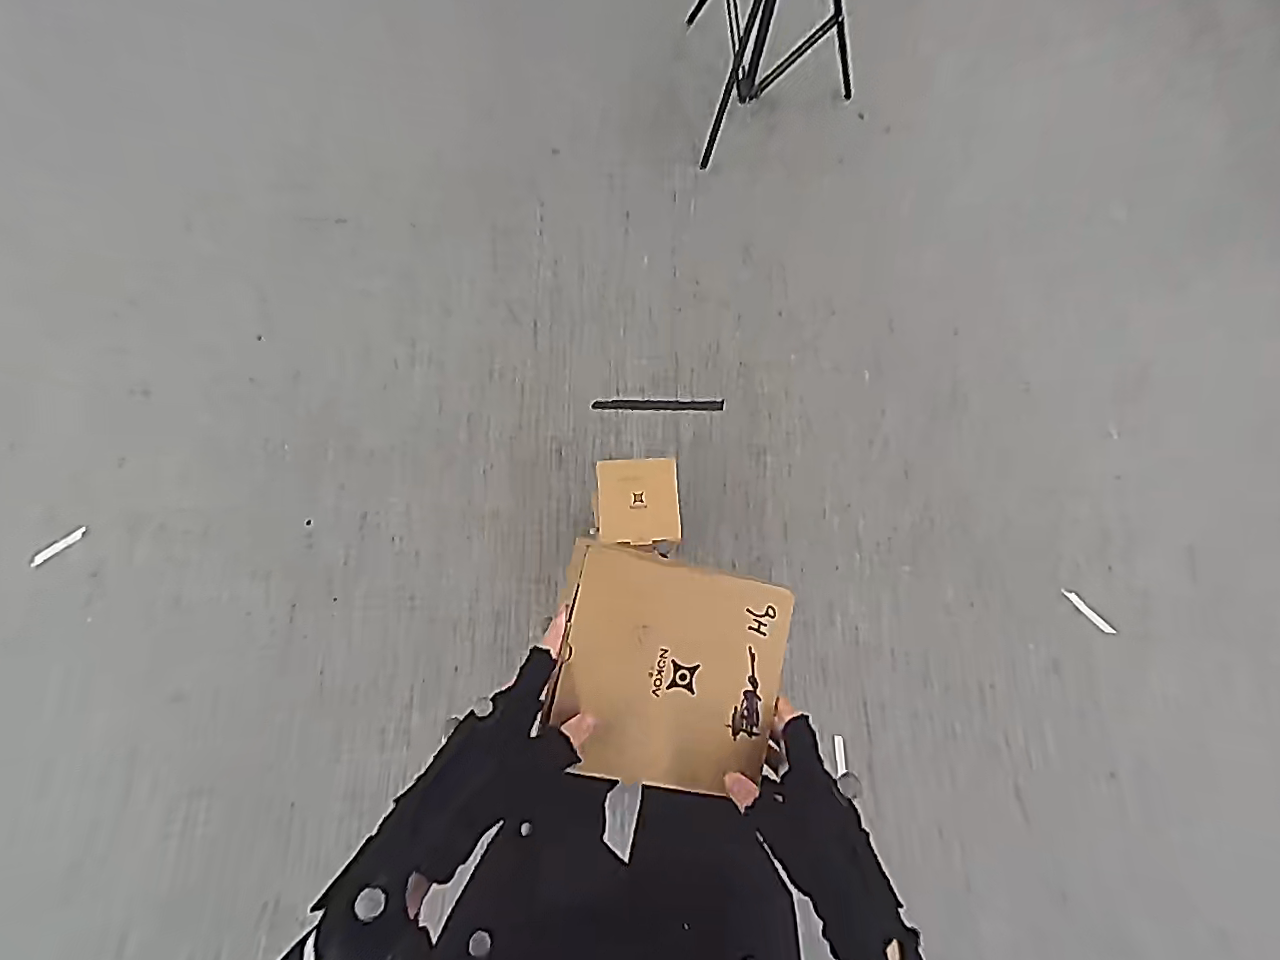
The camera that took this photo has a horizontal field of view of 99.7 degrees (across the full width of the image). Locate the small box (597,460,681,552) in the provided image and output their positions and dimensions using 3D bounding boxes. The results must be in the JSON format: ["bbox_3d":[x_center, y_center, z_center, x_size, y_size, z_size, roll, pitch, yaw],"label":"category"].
[{"bbox_3d":[-0.007,0.067,1.169,0.168,0.176,0.179,-3,74,-5],"label":"small box"}]

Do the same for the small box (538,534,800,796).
[{"bbox_3d":[0.016,0.150,0.490,0.179,0.176,0.168,14,83,-7],"label":"small box"}]
